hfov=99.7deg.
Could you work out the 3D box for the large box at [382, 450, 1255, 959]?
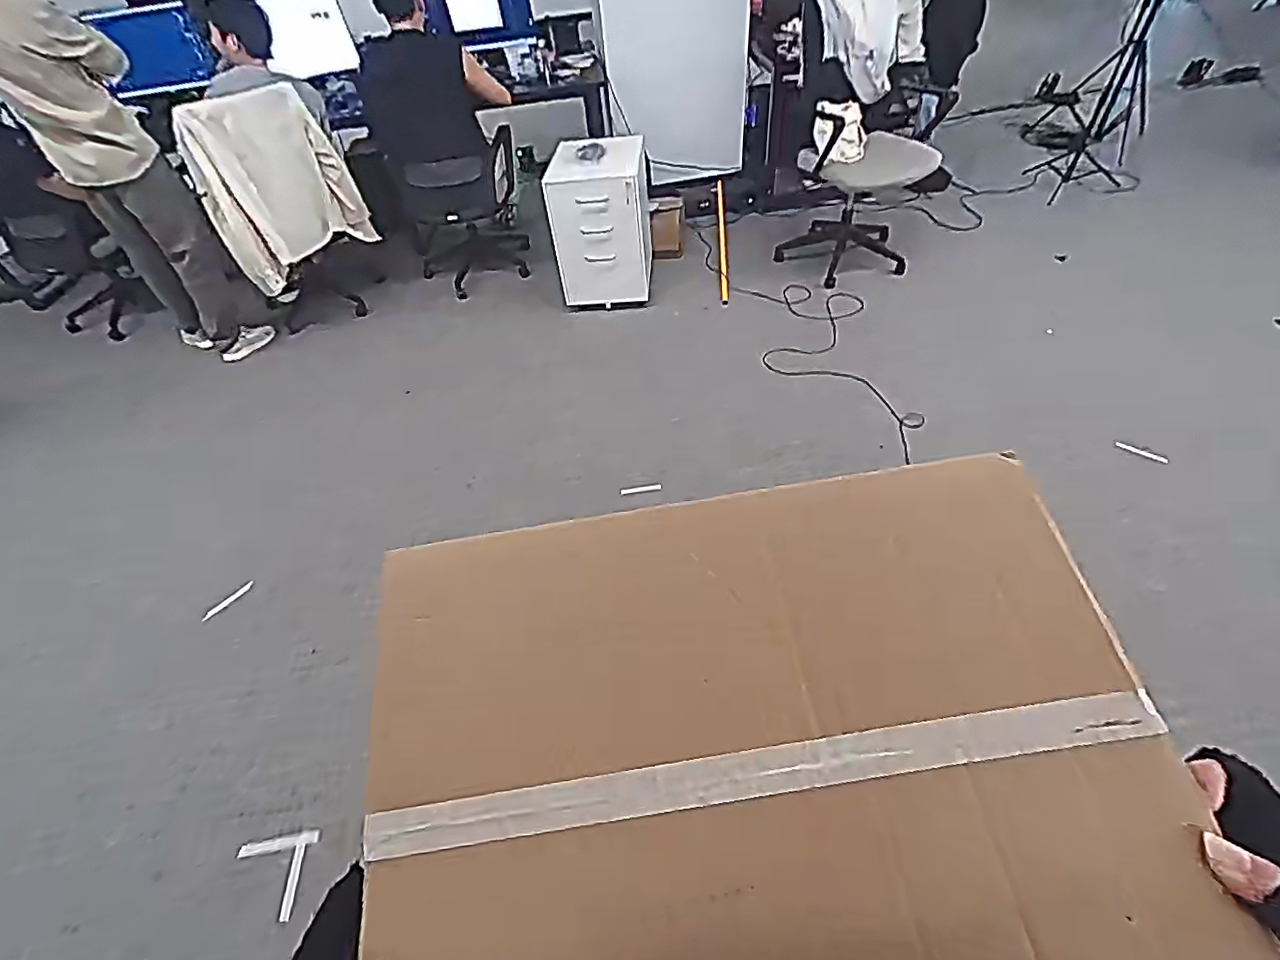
[{"bbox_3d":[0.071,0.215,0.423,0.408,0.320,0.320,-10,64,1],"label":"large box"}]
